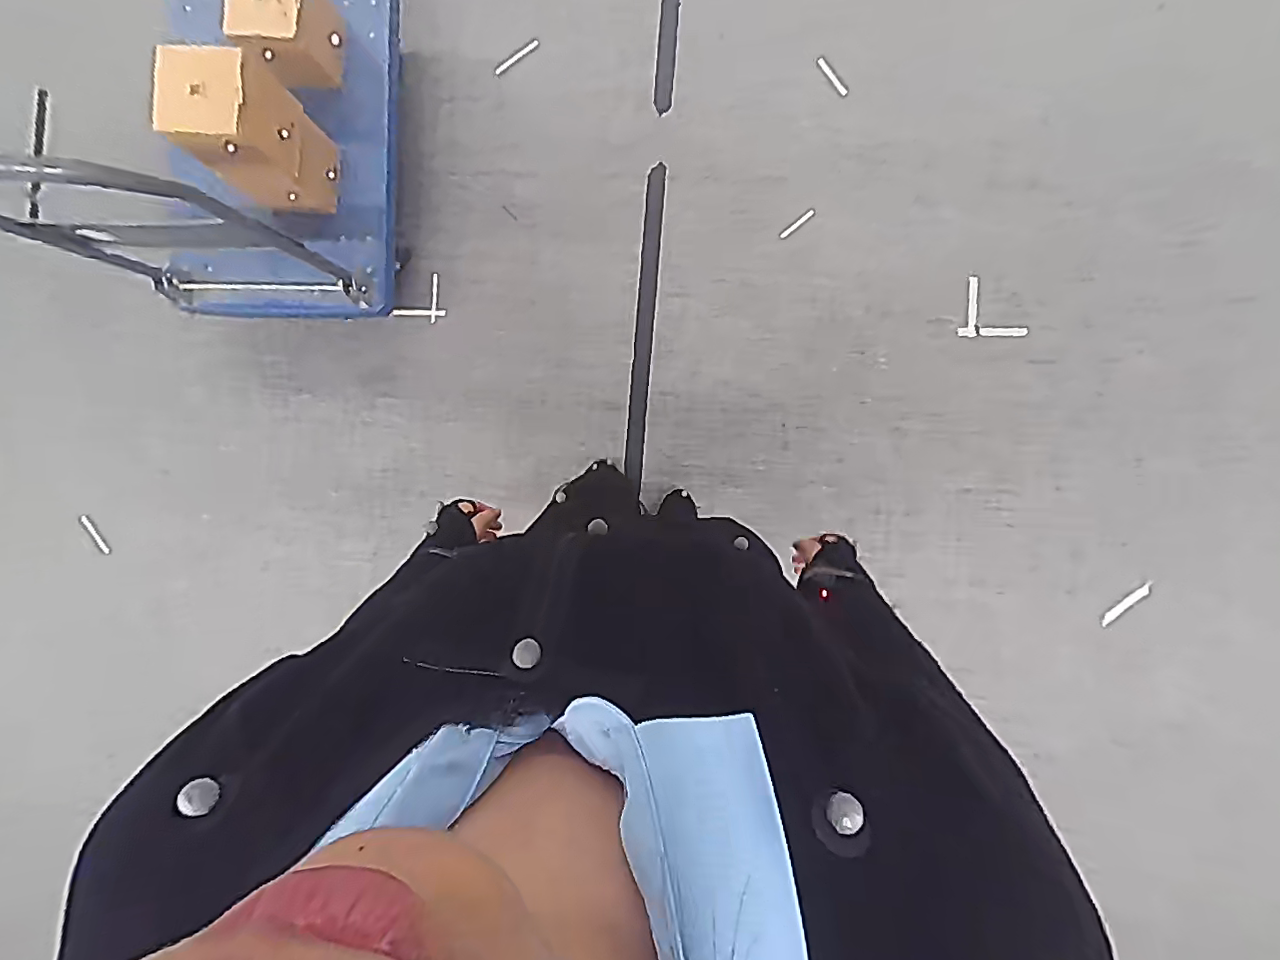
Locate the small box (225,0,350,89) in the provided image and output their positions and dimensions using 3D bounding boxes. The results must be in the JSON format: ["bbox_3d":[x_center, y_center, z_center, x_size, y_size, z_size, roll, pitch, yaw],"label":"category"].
[{"bbox_3d":[-0.817,-1.055,1.264,0.179,0.176,0.168,6,92,4],"label":"small box"}]

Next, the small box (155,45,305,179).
[{"bbox_3d":[-0.832,-0.744,1.109,0.179,0.176,0.168,4,91,3],"label":"small box"}]
